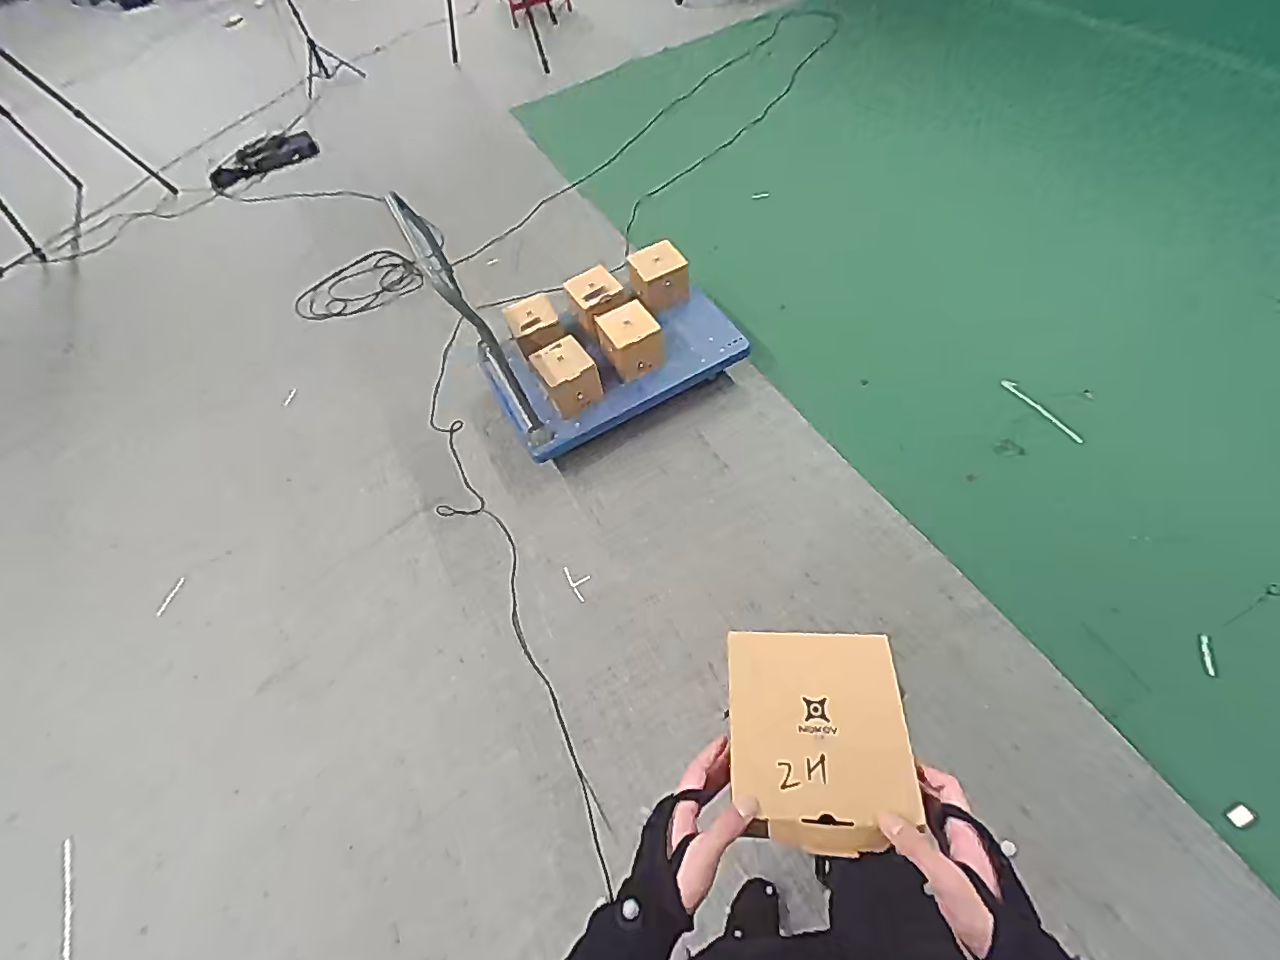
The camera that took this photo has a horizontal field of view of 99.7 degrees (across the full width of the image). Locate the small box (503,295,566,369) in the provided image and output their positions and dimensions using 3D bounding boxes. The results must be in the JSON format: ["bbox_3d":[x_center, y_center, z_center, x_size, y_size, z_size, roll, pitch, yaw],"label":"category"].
[{"bbox_3d":[-0.367,-0.524,1.944,0.168,0.176,0.179,-26,58,-9],"label":"small box"}]

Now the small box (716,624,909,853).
[{"bbox_3d":[0.175,0.278,0.581,0.168,0.176,0.179,2,53,14],"label":"small box"}]

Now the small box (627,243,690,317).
[{"bbox_3d":[0.074,-0.740,2.017,0.179,0.176,0.168,-26,60,-8],"label":"small box"}]

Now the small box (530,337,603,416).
[{"bbox_3d":[-0.239,-0.337,1.810,0.168,0.176,0.179,-30,60,-11],"label":"small box"}]
